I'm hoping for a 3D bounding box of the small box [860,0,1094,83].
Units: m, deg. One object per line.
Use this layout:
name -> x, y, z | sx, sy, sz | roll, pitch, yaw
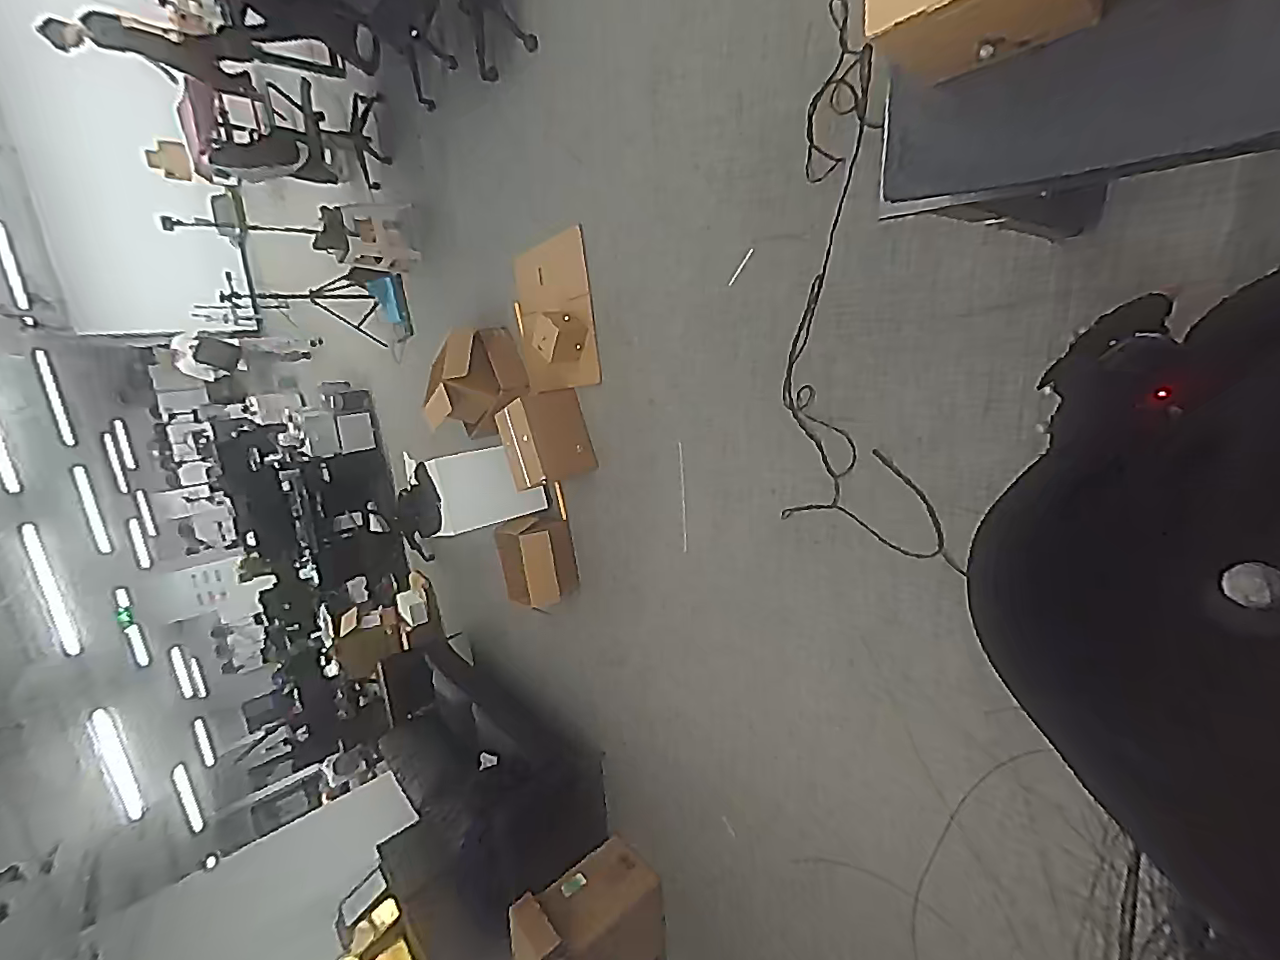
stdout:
small box -> 0.338, -0.539, 0.531 | 0.168, 0.176, 0.179 | 11, 109, 47
